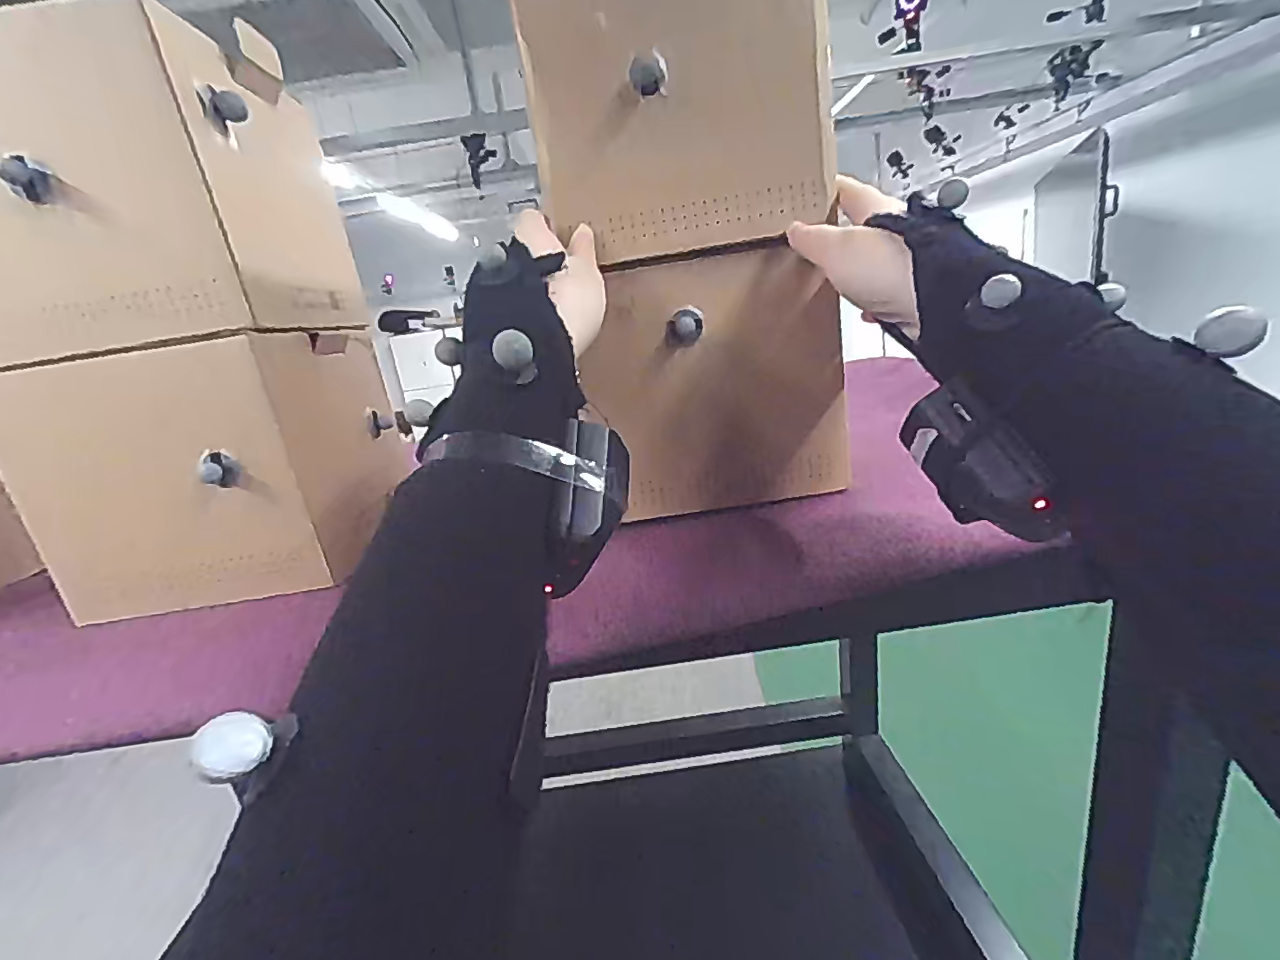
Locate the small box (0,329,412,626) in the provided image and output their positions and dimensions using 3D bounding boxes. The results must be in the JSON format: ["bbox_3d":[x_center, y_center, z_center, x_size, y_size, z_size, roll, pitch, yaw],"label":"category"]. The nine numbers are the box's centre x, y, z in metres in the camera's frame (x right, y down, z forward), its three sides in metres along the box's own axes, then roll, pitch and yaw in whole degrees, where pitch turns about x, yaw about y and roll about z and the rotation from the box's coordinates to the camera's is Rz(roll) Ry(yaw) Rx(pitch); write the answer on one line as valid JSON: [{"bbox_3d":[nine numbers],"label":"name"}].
[{"bbox_3d":[-0.299,-0.013,0.408,0.179,0.176,0.168,-10,16,-1],"label":"small box"}]

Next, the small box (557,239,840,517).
[{"bbox_3d":[0.044,-0.075,0.430,0.179,0.176,0.168,-7,14,2],"label":"small box"}]

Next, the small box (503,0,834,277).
[{"bbox_3d":[0.024,-0.232,0.386,0.179,0.176,0.168,-8,14,5],"label":"small box"}]
